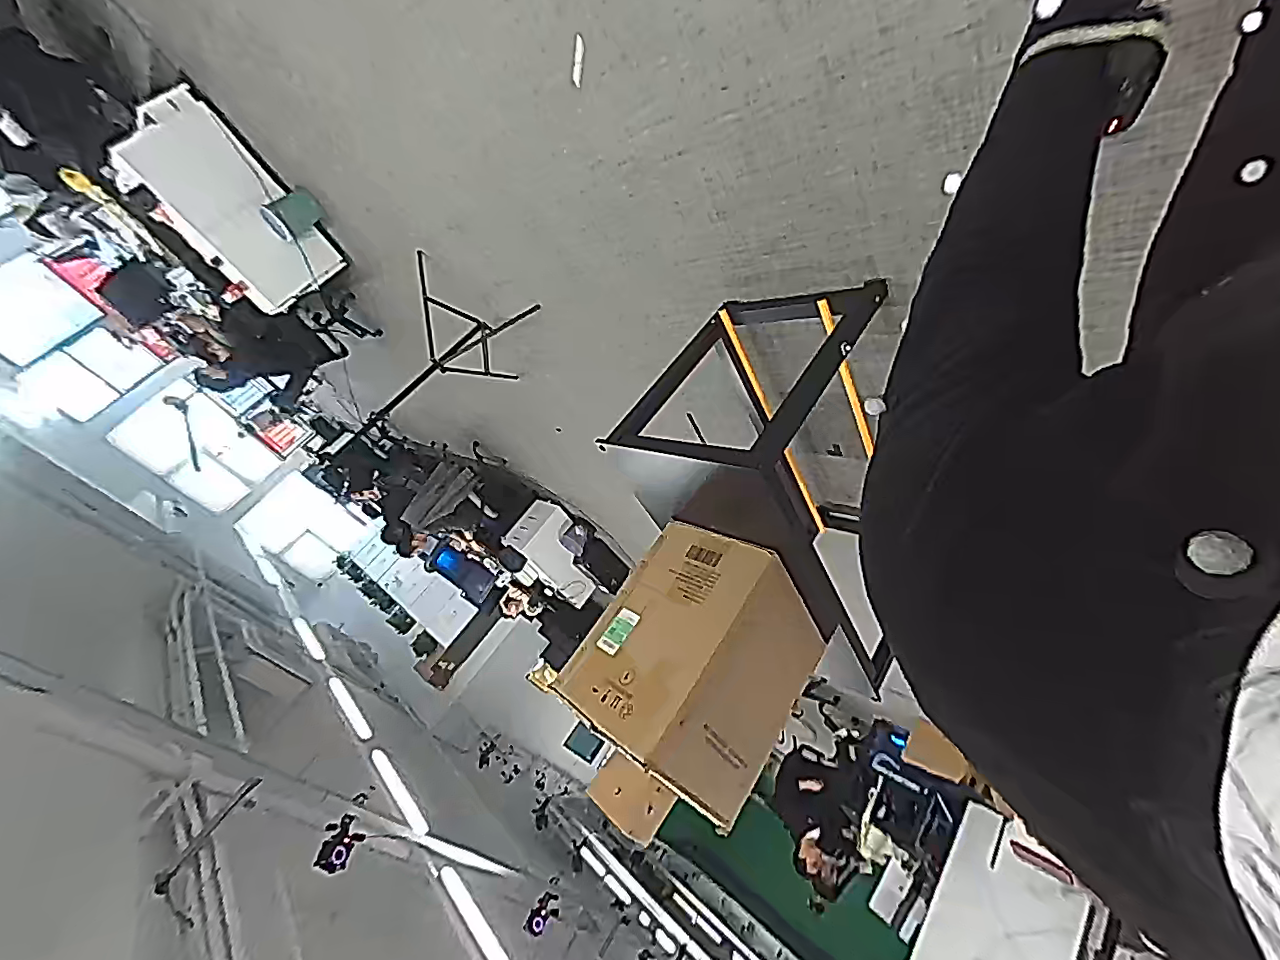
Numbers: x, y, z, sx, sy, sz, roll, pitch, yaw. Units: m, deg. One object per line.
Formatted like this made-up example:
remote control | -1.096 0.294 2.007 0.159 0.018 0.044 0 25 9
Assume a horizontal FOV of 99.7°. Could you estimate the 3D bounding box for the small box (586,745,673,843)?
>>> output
small box | -0.023 0.947 1.643 0.179 0.176 0.168 13 146 51
